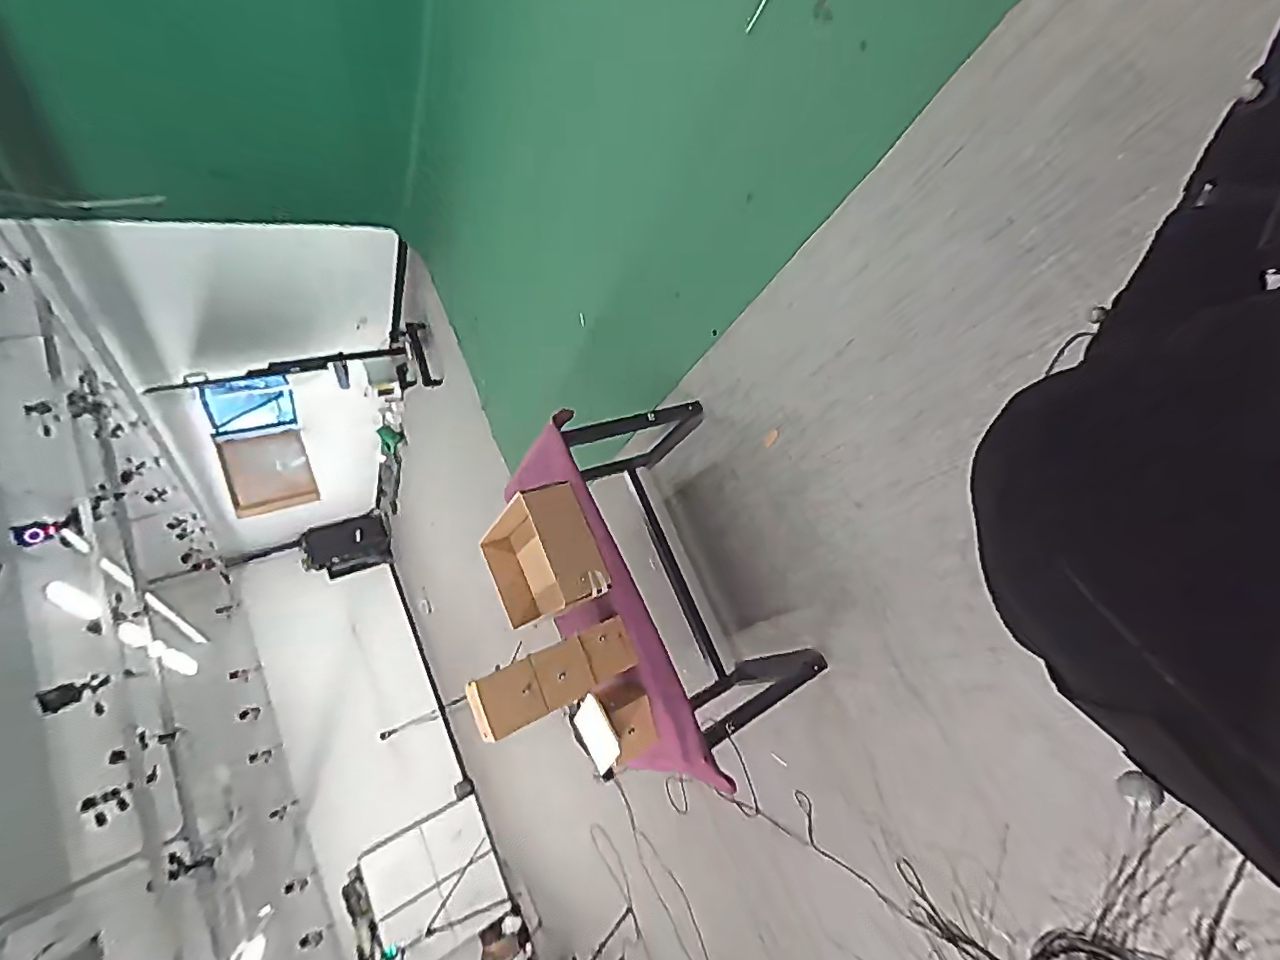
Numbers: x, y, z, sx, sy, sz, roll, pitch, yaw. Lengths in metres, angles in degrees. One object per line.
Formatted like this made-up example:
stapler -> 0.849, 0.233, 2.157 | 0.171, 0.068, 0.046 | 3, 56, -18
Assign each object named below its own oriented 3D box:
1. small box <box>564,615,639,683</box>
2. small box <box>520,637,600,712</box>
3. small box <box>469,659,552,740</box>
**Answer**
small box -> -0.124, 0.560, 1.779 | 0.179, 0.176, 0.168 | -40, 70, 56
small box -> -0.249, 0.601, 1.680 | 0.168, 0.176, 0.179 | -40, 70, 56
small box -> -0.381, 0.640, 1.591 | 0.168, 0.176, 0.179 | -41, 68, 56
